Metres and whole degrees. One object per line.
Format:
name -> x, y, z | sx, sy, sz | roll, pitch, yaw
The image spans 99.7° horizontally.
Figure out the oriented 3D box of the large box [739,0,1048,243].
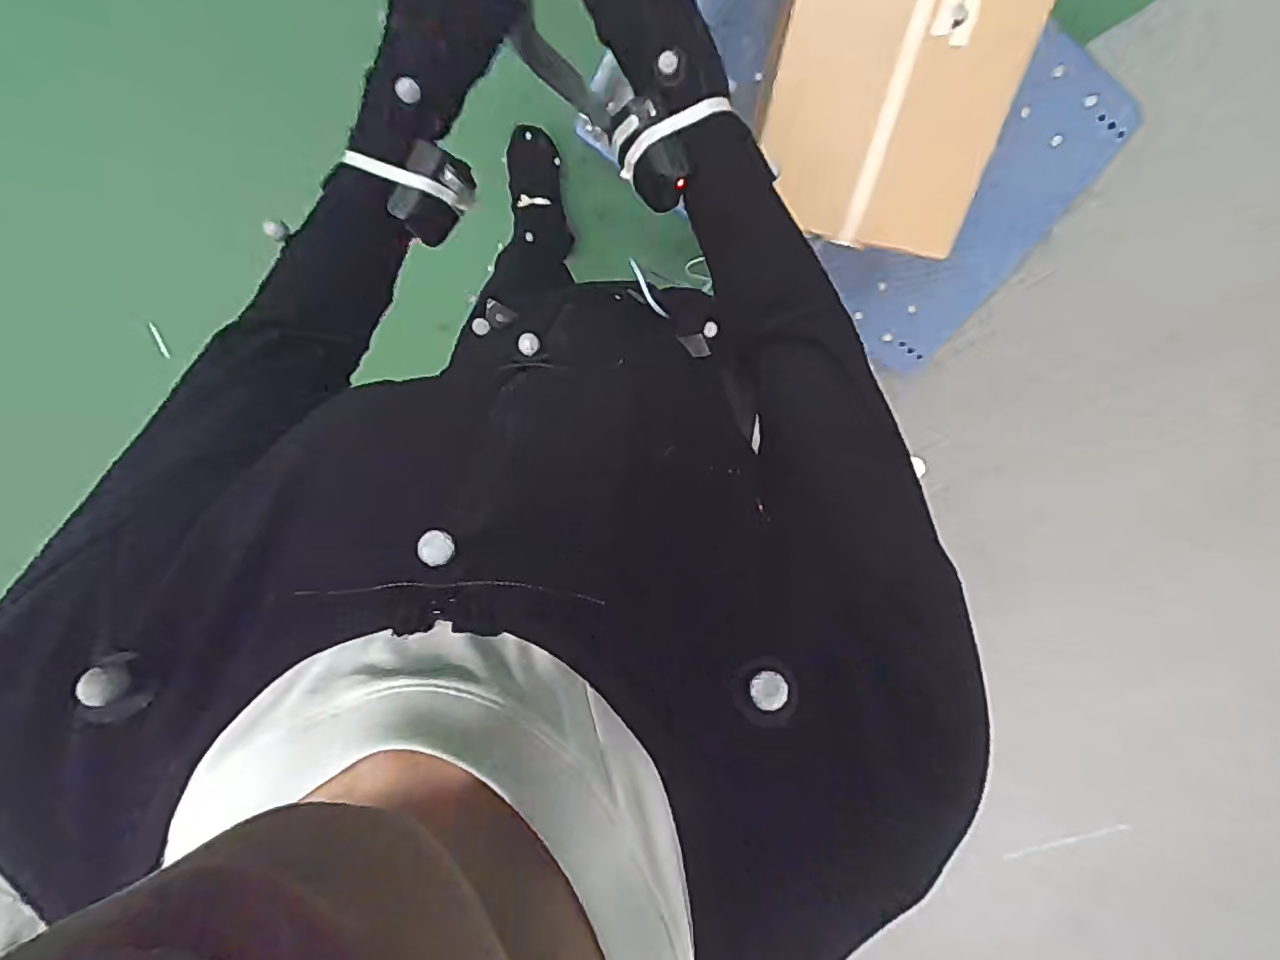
large box -> 0.357, -0.614, 0.844 | 0.320, 0.320, 0.408 | 12, 116, -1
